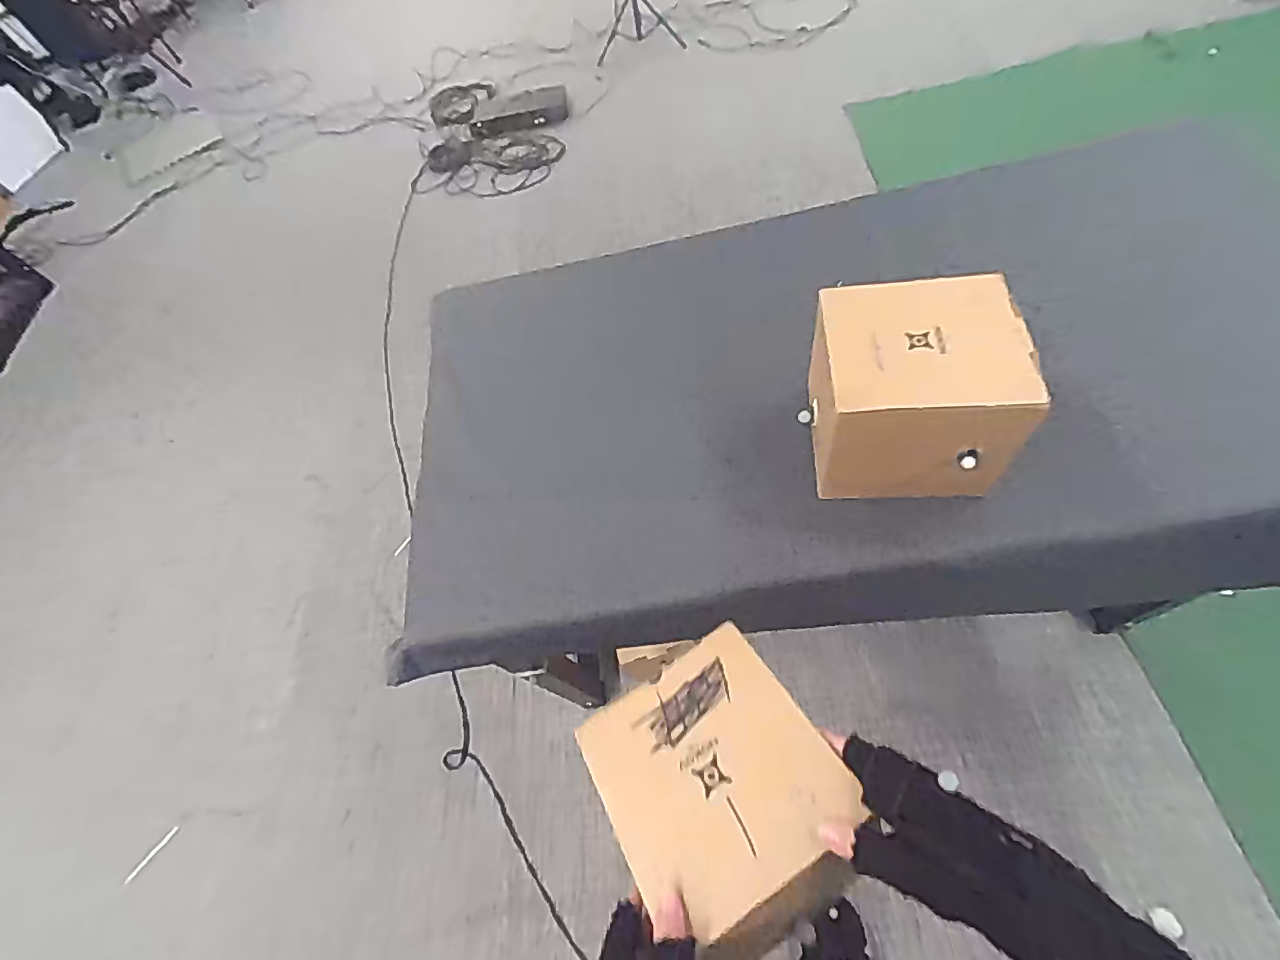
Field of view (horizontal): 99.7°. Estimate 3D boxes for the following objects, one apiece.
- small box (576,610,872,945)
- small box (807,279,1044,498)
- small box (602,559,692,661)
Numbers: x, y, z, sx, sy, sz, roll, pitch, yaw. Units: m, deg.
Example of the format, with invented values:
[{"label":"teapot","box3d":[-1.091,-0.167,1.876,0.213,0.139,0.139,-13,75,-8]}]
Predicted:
[{"label":"small box","box3d":[0.072,0.253,0.464,0.168,0.176,0.179,-32,45,-6]},{"label":"small box","box3d":[0.284,-0.089,0.585,0.179,0.176,0.168,-1,60,11]},{"label":"small box","box3d":[0.023,0.311,1.258,0.168,0.176,0.179,-18,60,1]}]
